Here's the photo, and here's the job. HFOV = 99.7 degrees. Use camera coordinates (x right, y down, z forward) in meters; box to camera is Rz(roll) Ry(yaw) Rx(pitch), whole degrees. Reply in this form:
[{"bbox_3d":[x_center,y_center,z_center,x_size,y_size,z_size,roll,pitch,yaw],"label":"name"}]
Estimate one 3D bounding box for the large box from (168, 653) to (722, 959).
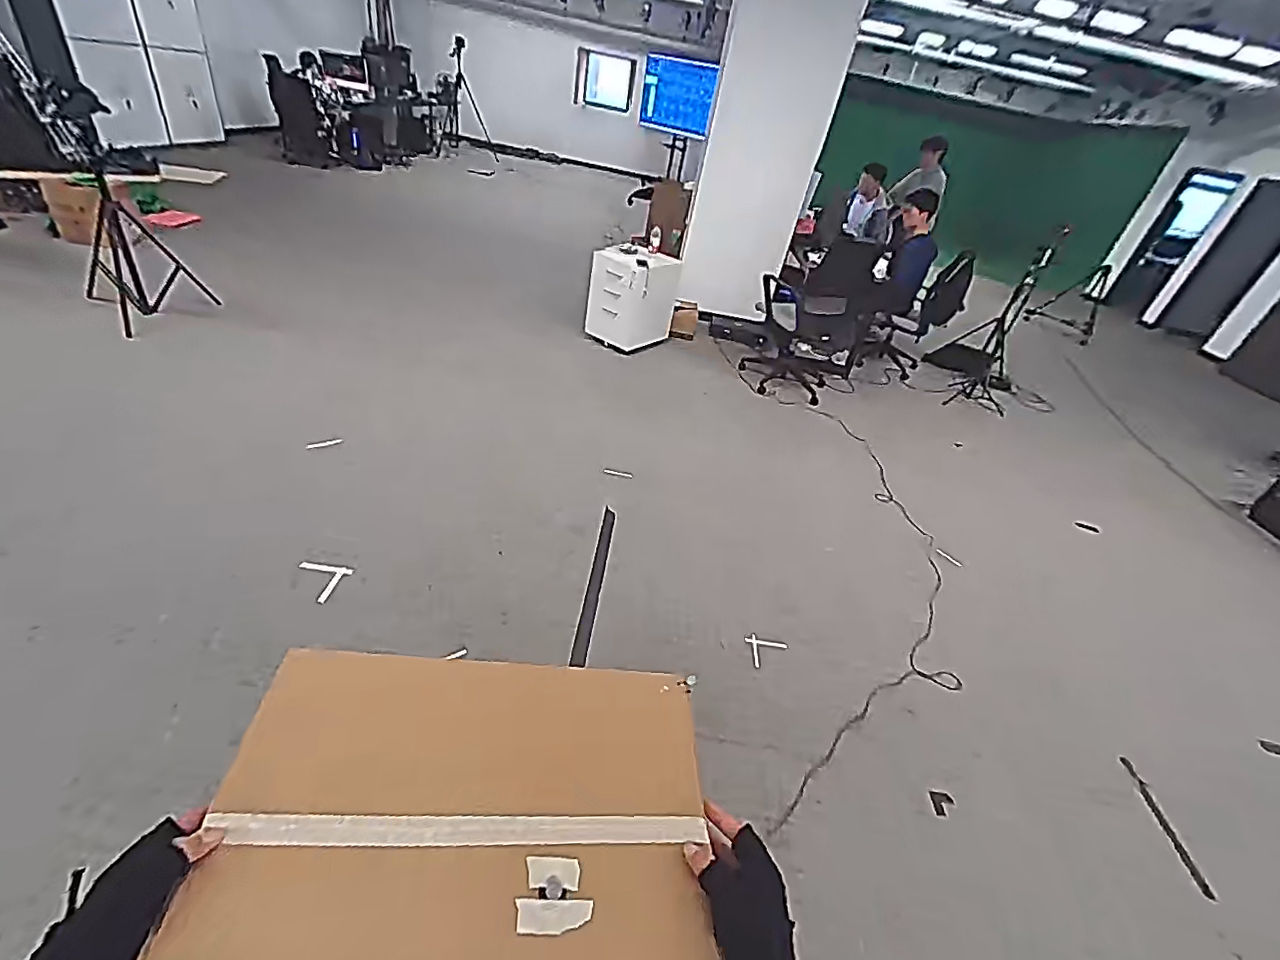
[{"bbox_3d":[-0.169,0.408,0.558,0.408,0.320,0.320,8,40,-12],"label":"large box"}]
